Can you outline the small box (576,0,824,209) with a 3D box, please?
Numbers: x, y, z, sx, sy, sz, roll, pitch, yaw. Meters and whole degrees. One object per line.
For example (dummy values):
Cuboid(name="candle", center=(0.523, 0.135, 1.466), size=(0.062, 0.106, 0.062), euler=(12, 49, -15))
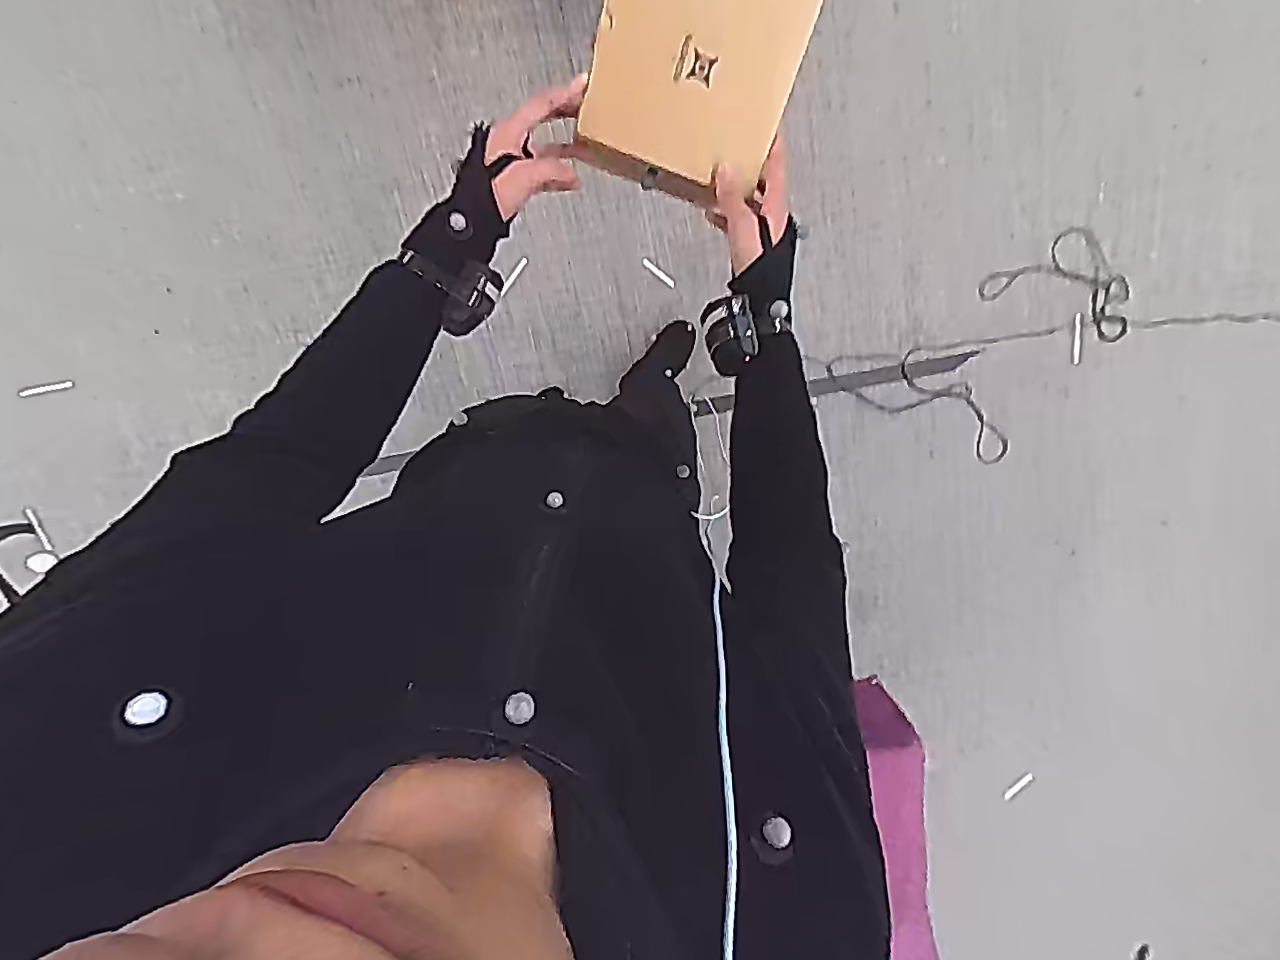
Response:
Cuboid(name="small box", center=(0.042, -0.384, 0.536), size=(0.179, 0.176, 0.168), euler=(15, 111, -13))
